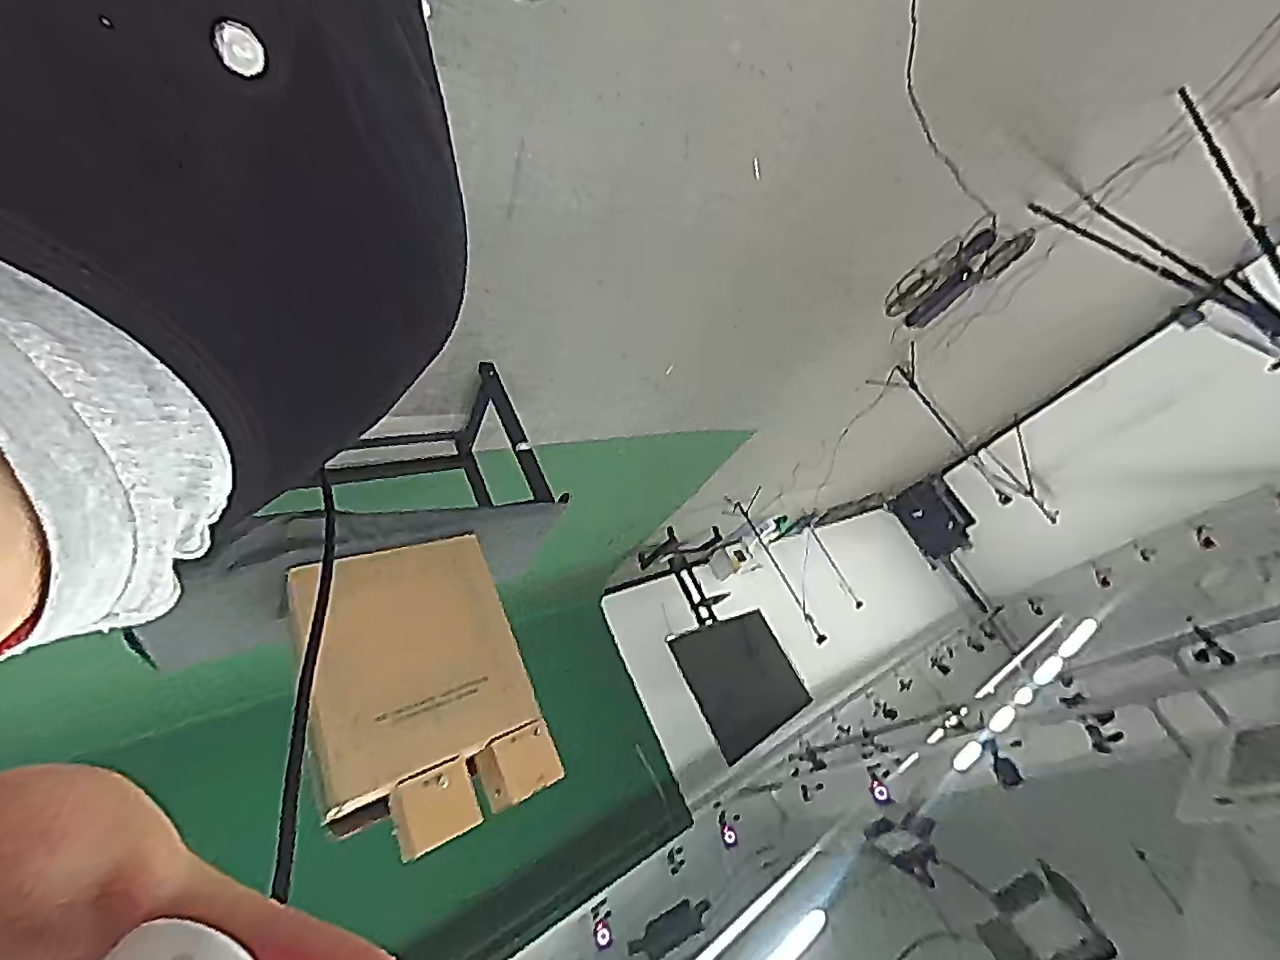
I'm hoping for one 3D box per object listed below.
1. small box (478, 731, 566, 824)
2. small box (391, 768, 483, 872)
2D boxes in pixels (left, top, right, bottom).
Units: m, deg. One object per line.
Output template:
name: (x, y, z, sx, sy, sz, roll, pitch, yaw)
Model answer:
small box: (-0.342, 0.840, 1.539, 0.168, 0.176, 0.179, -8, 151, -40)
small box: (-0.530, 0.870, 1.392, 0.168, 0.176, 0.179, -9, 150, -38)
